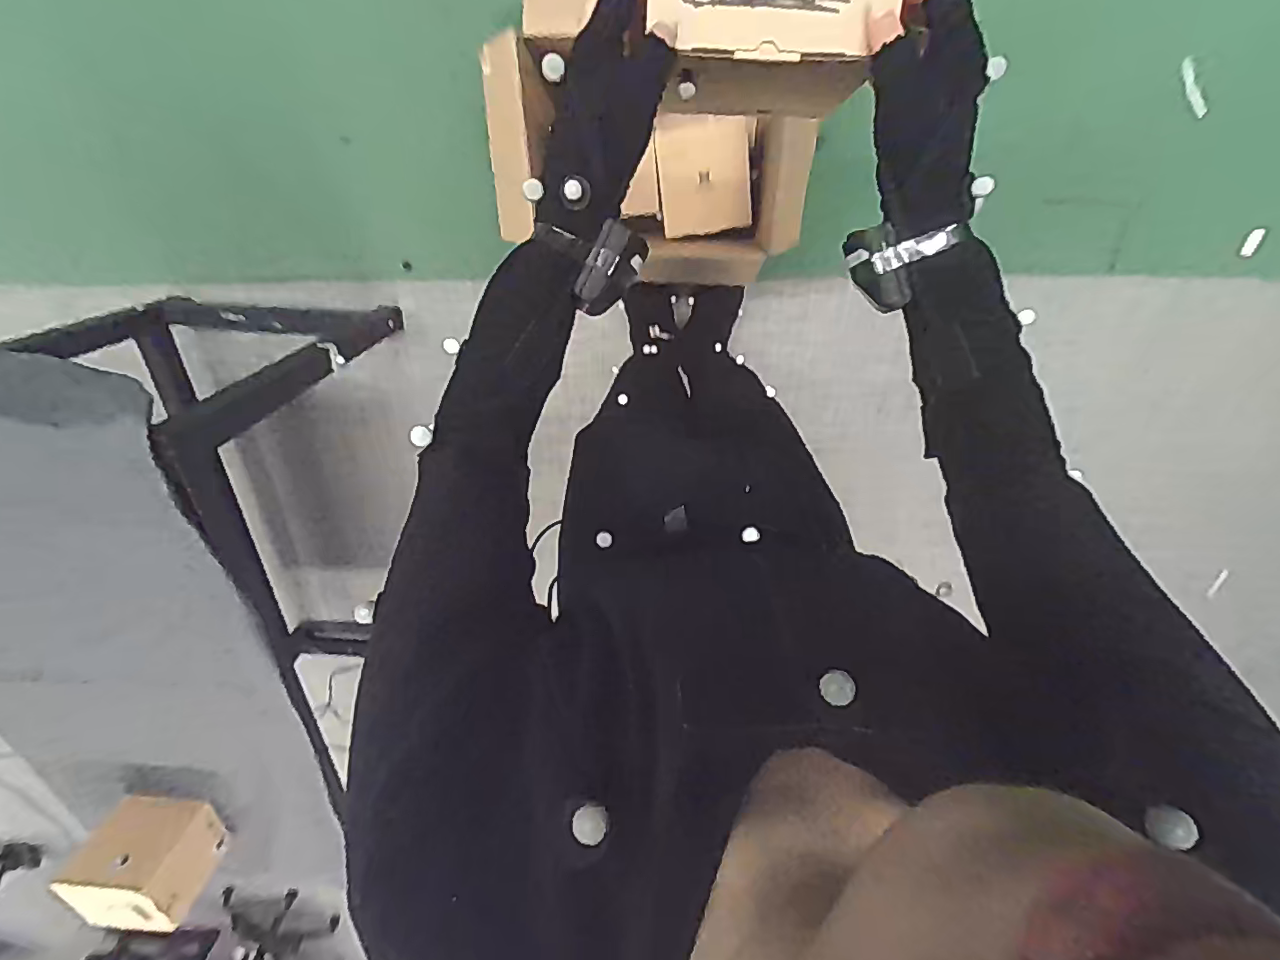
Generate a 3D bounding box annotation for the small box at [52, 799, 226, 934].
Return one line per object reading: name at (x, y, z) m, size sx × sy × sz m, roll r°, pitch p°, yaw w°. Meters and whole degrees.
small box at (-0.983, 0.772, 1.089) m, size 0.179 × 0.176 × 0.168 m, roll 4°, pitch 119°, yaw 2°
